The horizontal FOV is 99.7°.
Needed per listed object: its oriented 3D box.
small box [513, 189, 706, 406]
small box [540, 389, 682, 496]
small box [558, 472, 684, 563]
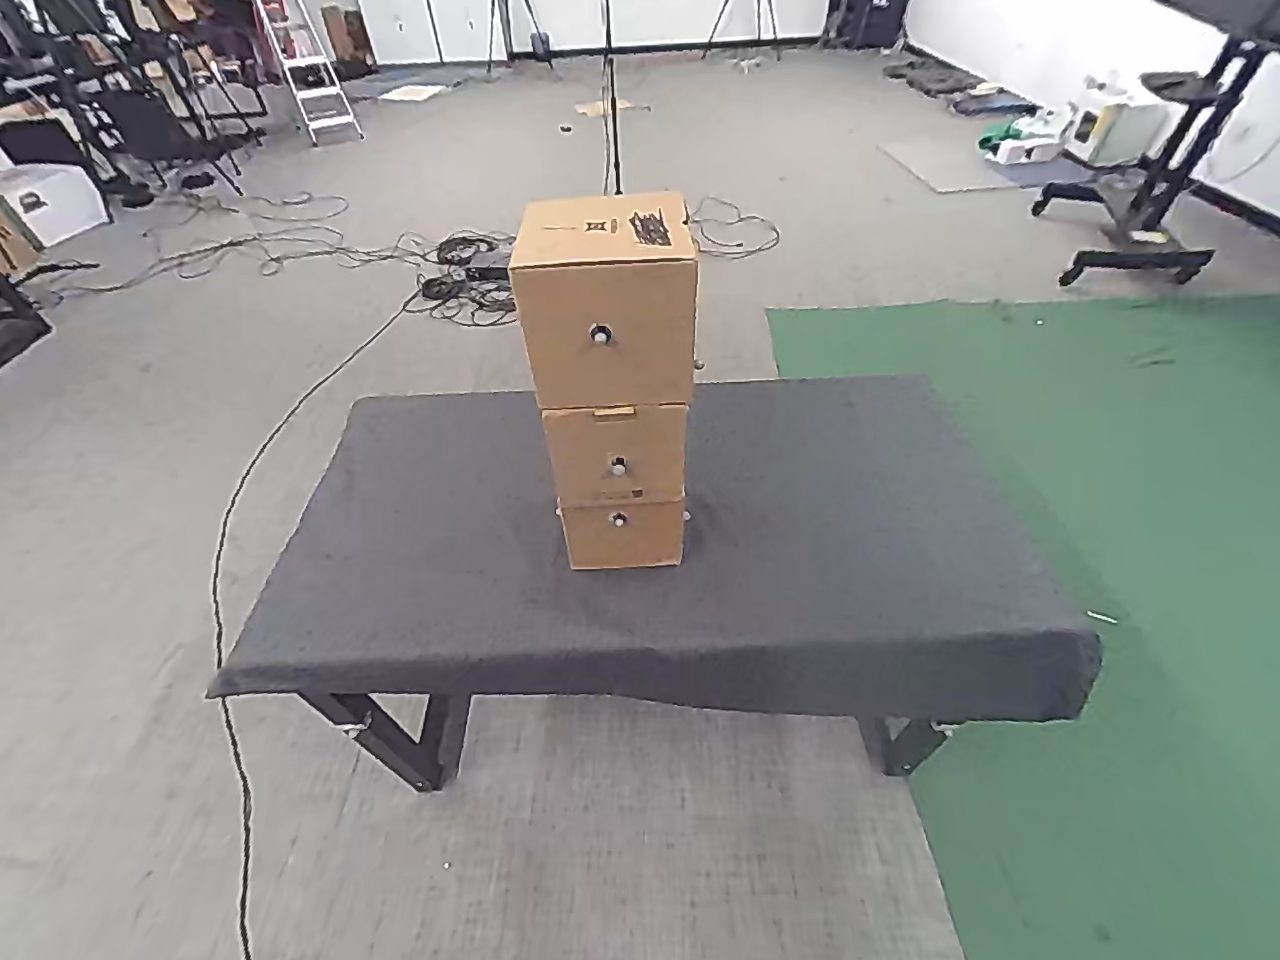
[{"bbox_3d":[-0.032,-0.198,0.596,0.179,0.176,0.168,-4,48,-2],"label":"small box"},{"bbox_3d":[-0.031,-0.090,0.720,0.168,0.176,0.179,-3,48,0],"label":"small box"},{"bbox_3d":[-0.026,0.017,0.844,0.179,0.176,0.168,-2,48,-1],"label":"small box"}]
